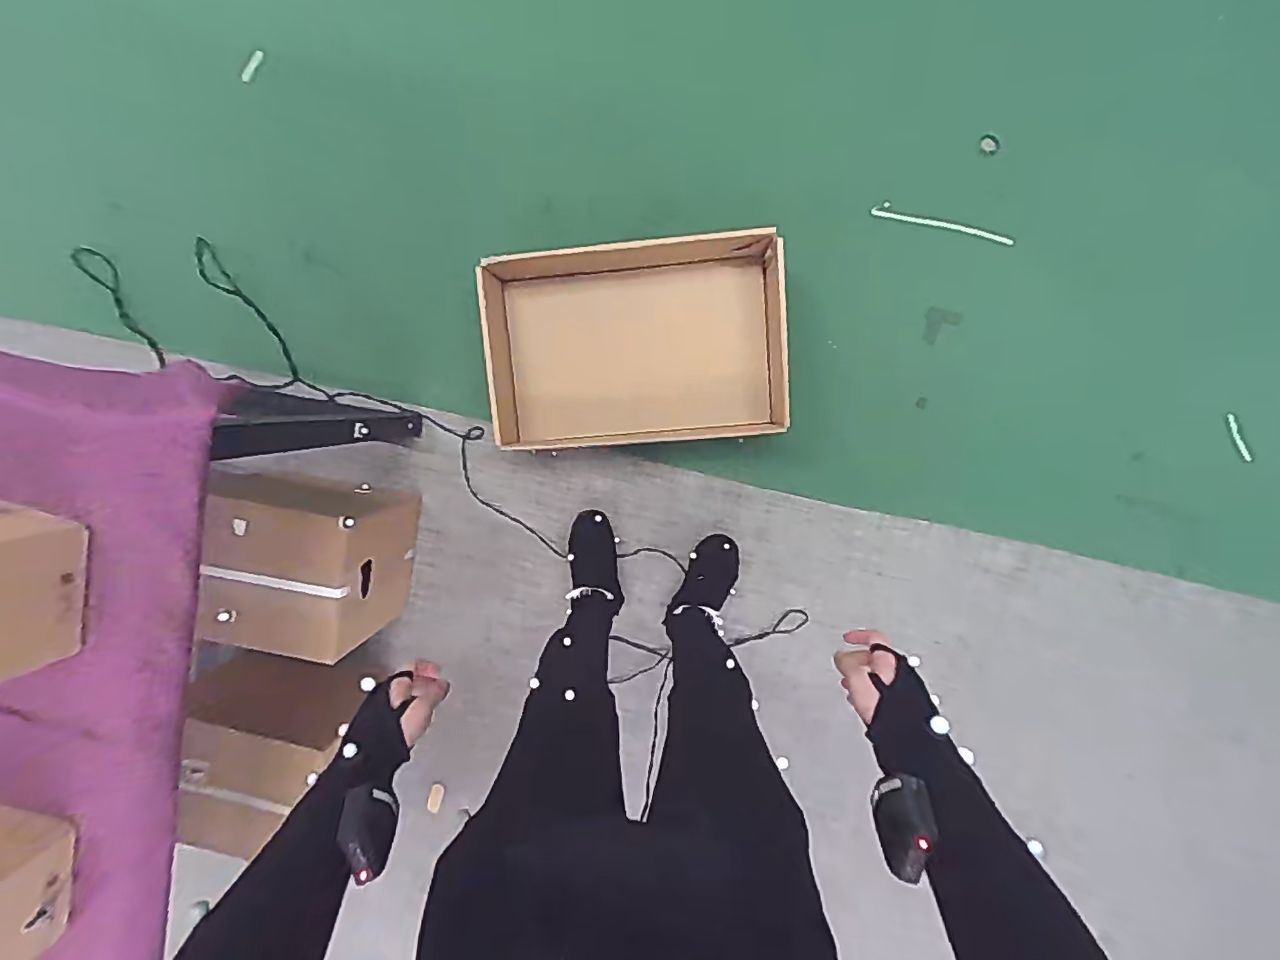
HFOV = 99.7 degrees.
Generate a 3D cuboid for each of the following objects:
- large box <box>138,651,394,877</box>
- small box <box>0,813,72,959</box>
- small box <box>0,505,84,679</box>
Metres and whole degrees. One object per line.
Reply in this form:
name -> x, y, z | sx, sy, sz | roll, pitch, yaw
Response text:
large box -> -0.874, 0.659, 1.309 | 0.408, 0.320, 0.320 | 12, 98, 4
small box -> -0.824, 0.512, 0.617 | 0.179, 0.176, 0.168 | 14, 99, 3
small box -> -0.747, 0.123, 0.557 | 0.179, 0.176, 0.168 | 14, 99, 5
